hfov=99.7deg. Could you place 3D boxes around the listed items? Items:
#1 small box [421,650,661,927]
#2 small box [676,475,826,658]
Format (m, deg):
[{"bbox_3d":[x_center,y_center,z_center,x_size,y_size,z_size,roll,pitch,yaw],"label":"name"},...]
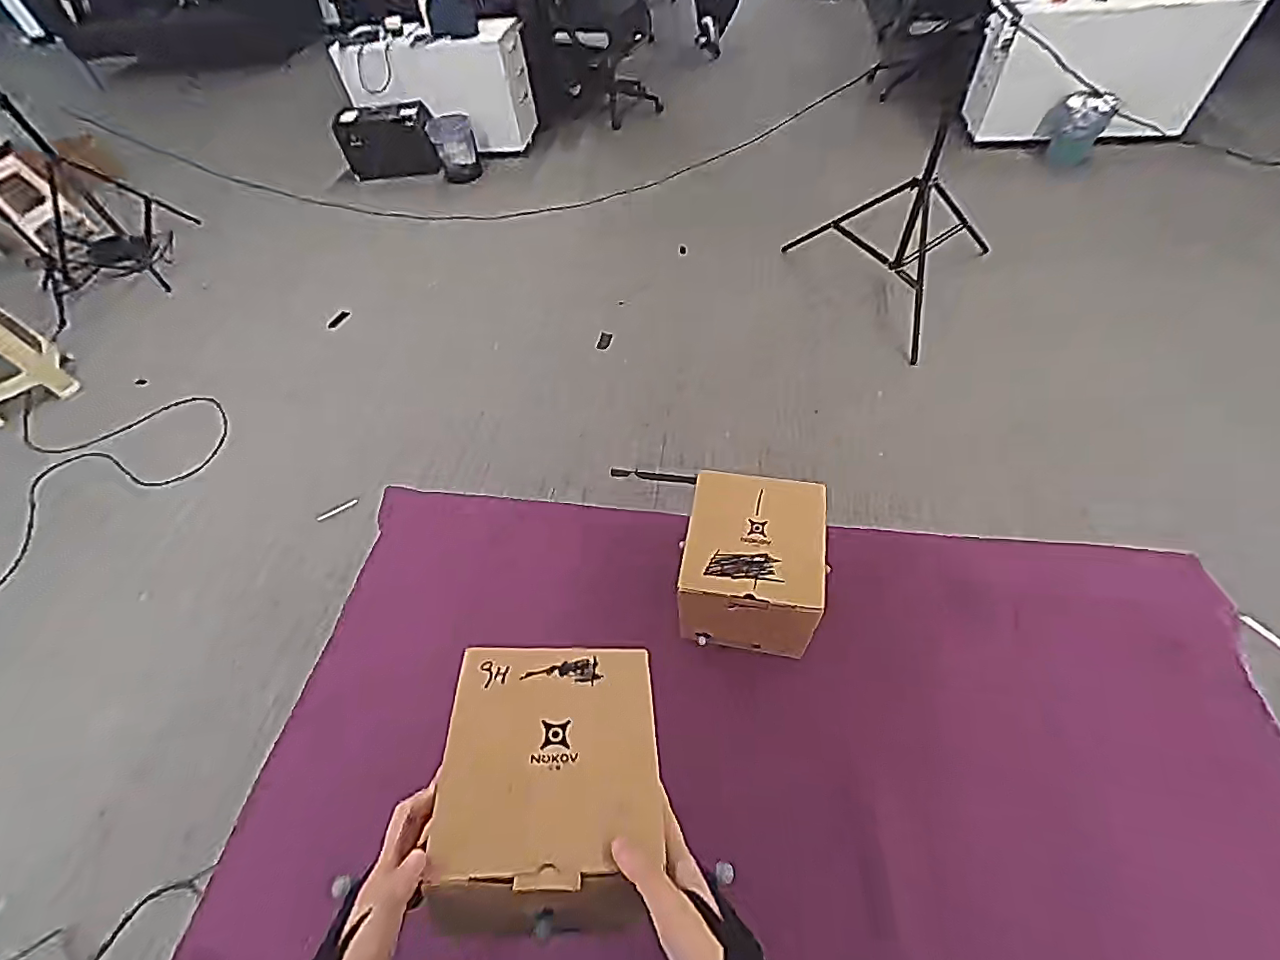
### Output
[{"bbox_3d":[-0.078,0.272,0.480,0.168,0.176,0.179,2,41,-7],"label":"small box"},{"bbox_3d":[0.146,0.119,0.722,0.168,0.176,0.179,7,55,10],"label":"small box"}]
